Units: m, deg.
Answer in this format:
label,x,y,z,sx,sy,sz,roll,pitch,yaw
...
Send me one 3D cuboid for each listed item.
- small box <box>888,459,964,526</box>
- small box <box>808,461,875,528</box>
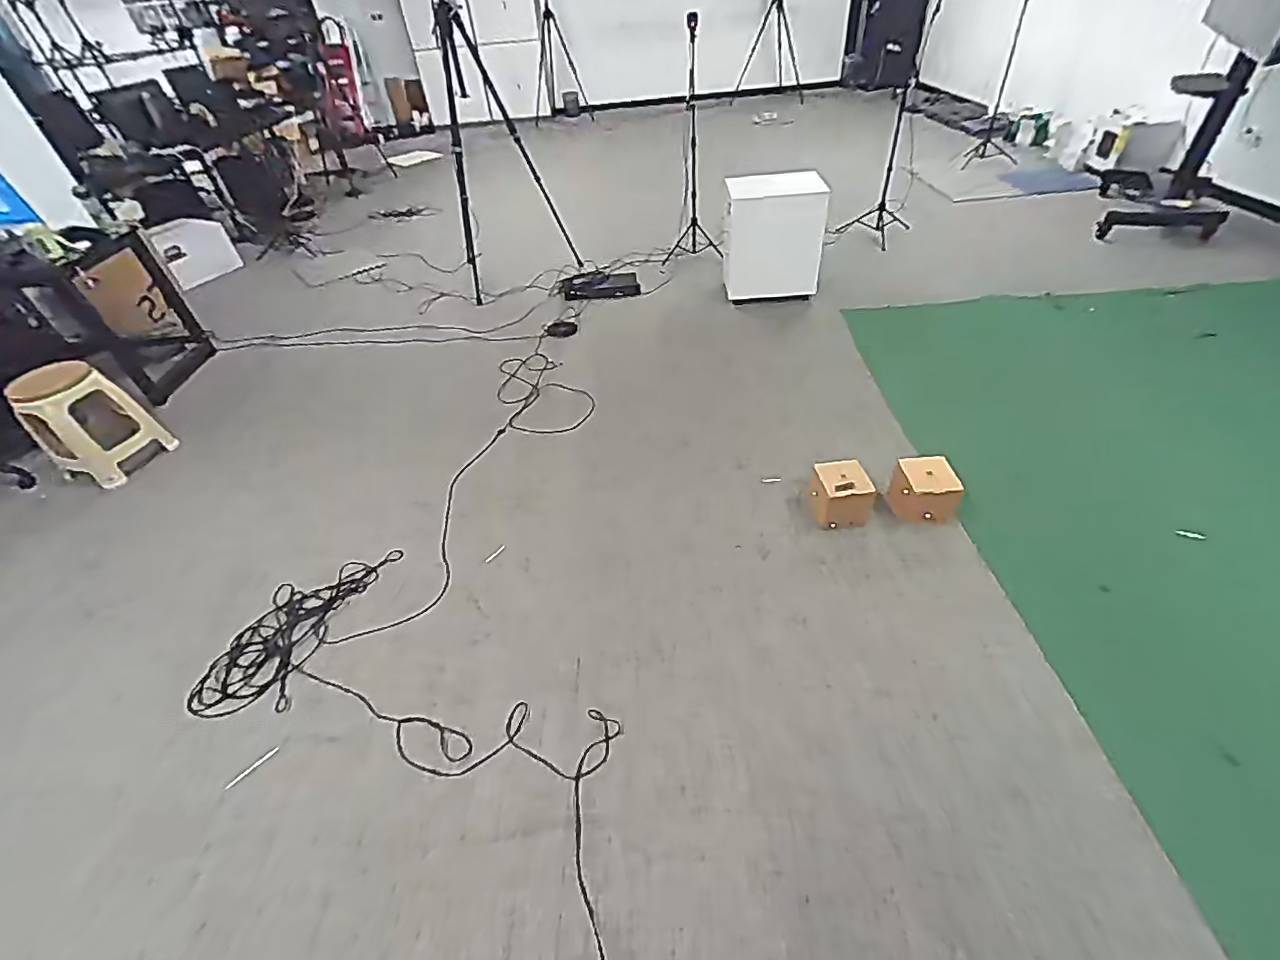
label,x,y,z,sx,sy,sz,roll,pitch,yaw
small box,1.012,0.045,1.931,0.168,0.176,0.179,-4,43,3
small box,0.720,0.058,1.946,0.168,0.176,0.179,-6,42,-1
